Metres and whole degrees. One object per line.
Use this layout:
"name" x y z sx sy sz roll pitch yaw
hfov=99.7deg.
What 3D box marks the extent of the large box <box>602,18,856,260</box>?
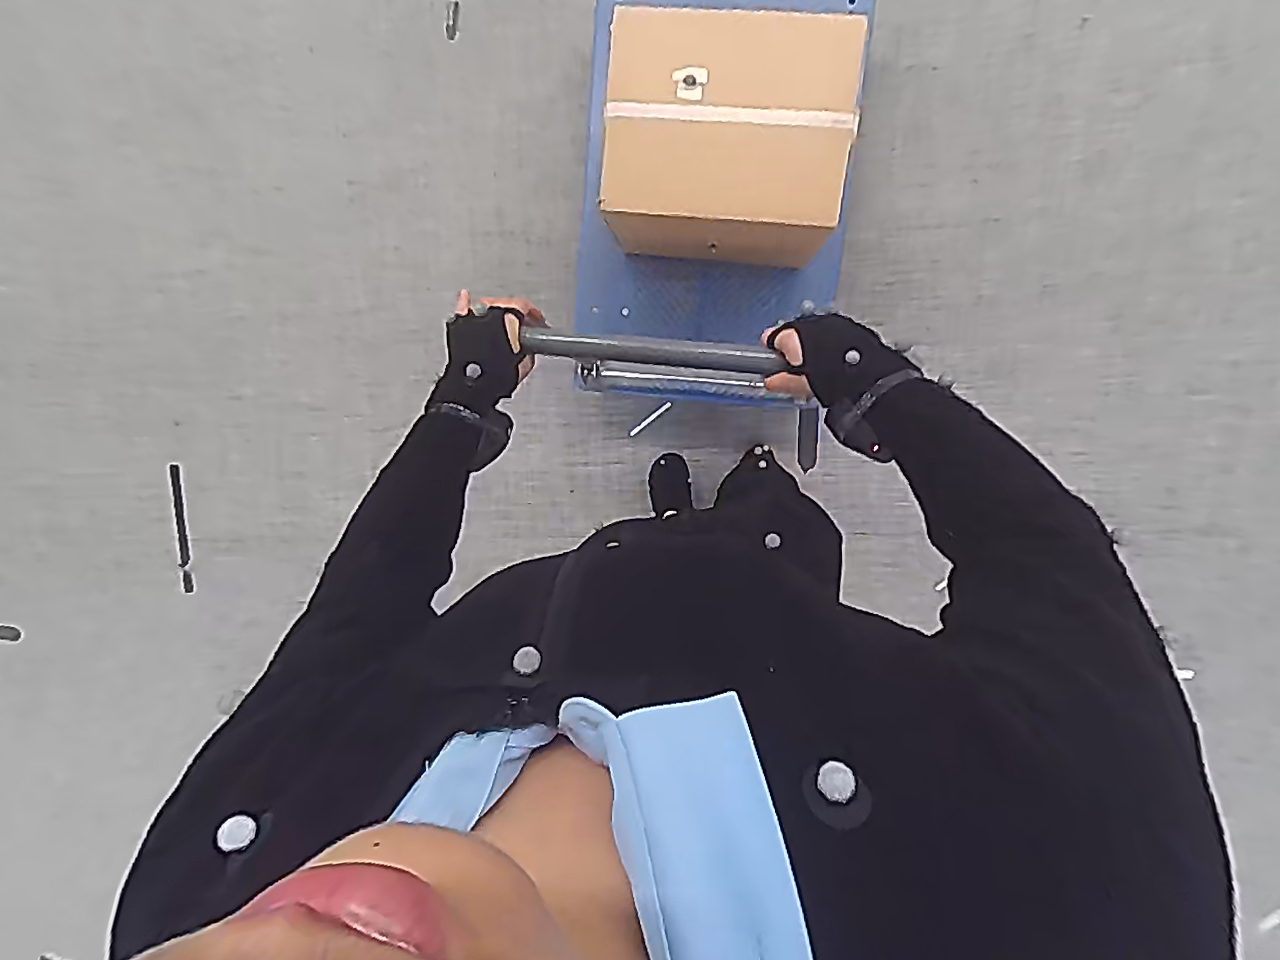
"large box" 0.159 -0.628 1.053 0.408 0.320 0.320 6 99 6
